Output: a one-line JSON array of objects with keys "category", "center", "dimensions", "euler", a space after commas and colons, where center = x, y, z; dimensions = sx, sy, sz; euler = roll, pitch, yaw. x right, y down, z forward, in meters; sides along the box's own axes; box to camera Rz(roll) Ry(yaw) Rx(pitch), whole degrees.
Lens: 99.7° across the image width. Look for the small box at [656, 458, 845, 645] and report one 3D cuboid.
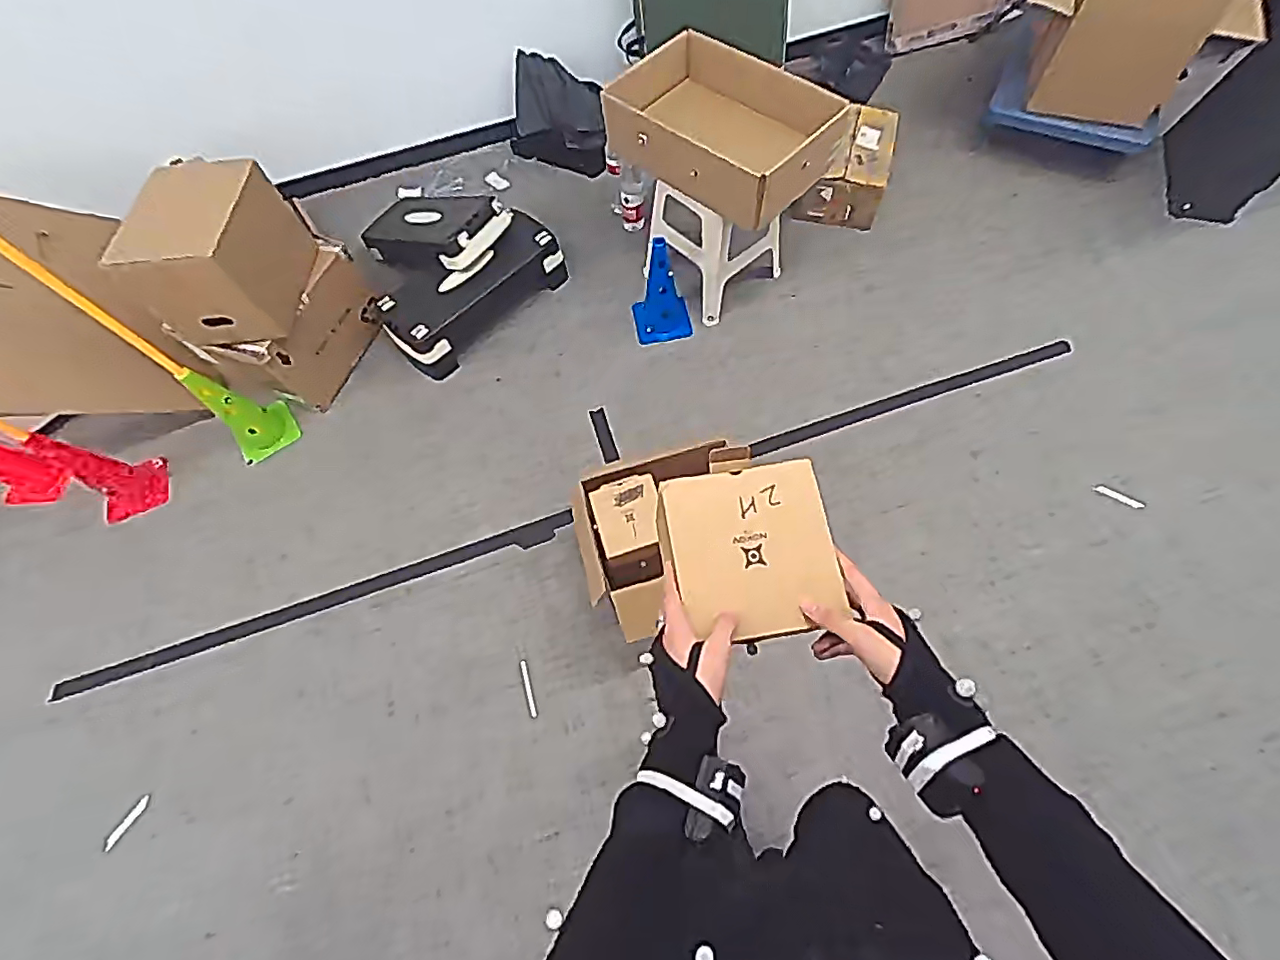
[{"category": "small box", "center": [0.112, 0.093, 0.632], "dimensions": [0.168, 0.176, 0.179], "euler": [-9, 71, -3]}]
